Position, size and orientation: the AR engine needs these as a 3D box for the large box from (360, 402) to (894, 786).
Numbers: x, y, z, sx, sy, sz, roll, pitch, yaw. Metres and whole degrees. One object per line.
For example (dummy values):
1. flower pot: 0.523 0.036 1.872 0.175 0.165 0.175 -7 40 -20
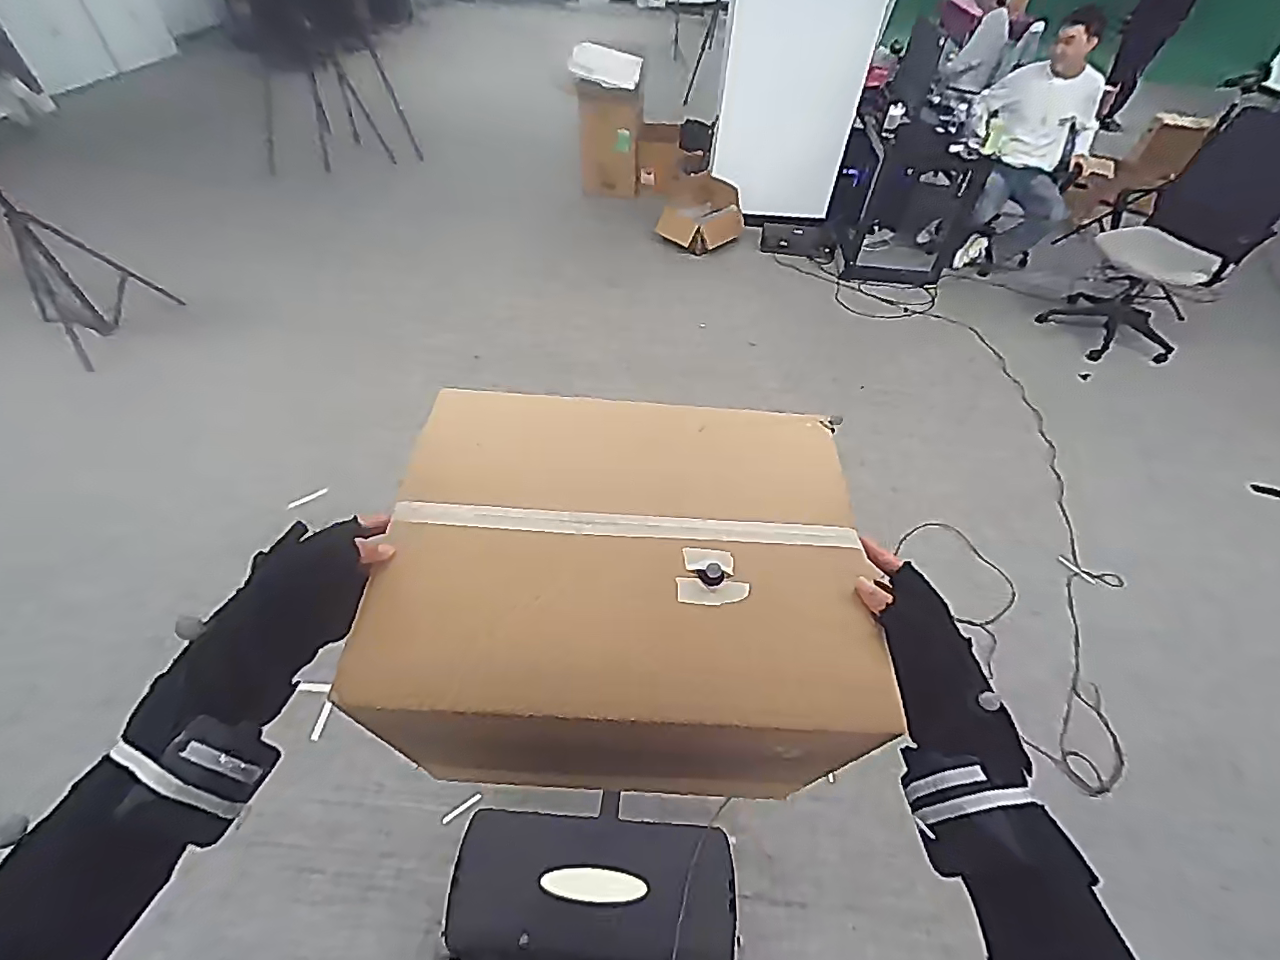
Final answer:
1. large box: -0.015 0.139 0.601 0.408 0.320 0.320 4 53 -3
